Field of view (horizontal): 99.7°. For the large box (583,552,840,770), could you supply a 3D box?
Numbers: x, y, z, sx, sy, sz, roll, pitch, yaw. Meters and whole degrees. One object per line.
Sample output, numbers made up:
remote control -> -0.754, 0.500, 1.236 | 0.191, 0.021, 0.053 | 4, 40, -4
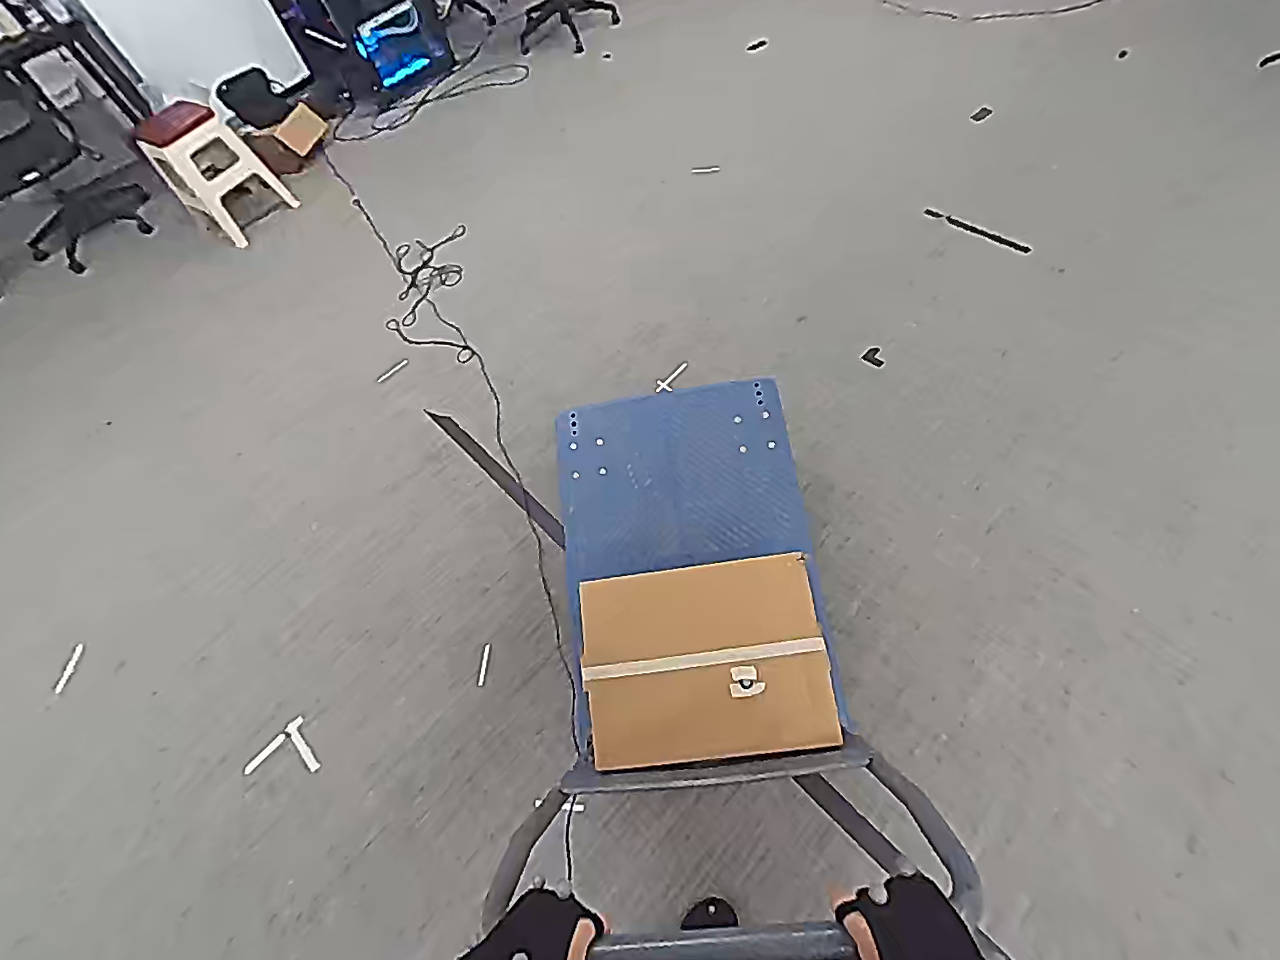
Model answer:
large box -> 0.127, 0.351, 1.076 | 0.408, 0.320, 0.320 | -10, 73, 4
